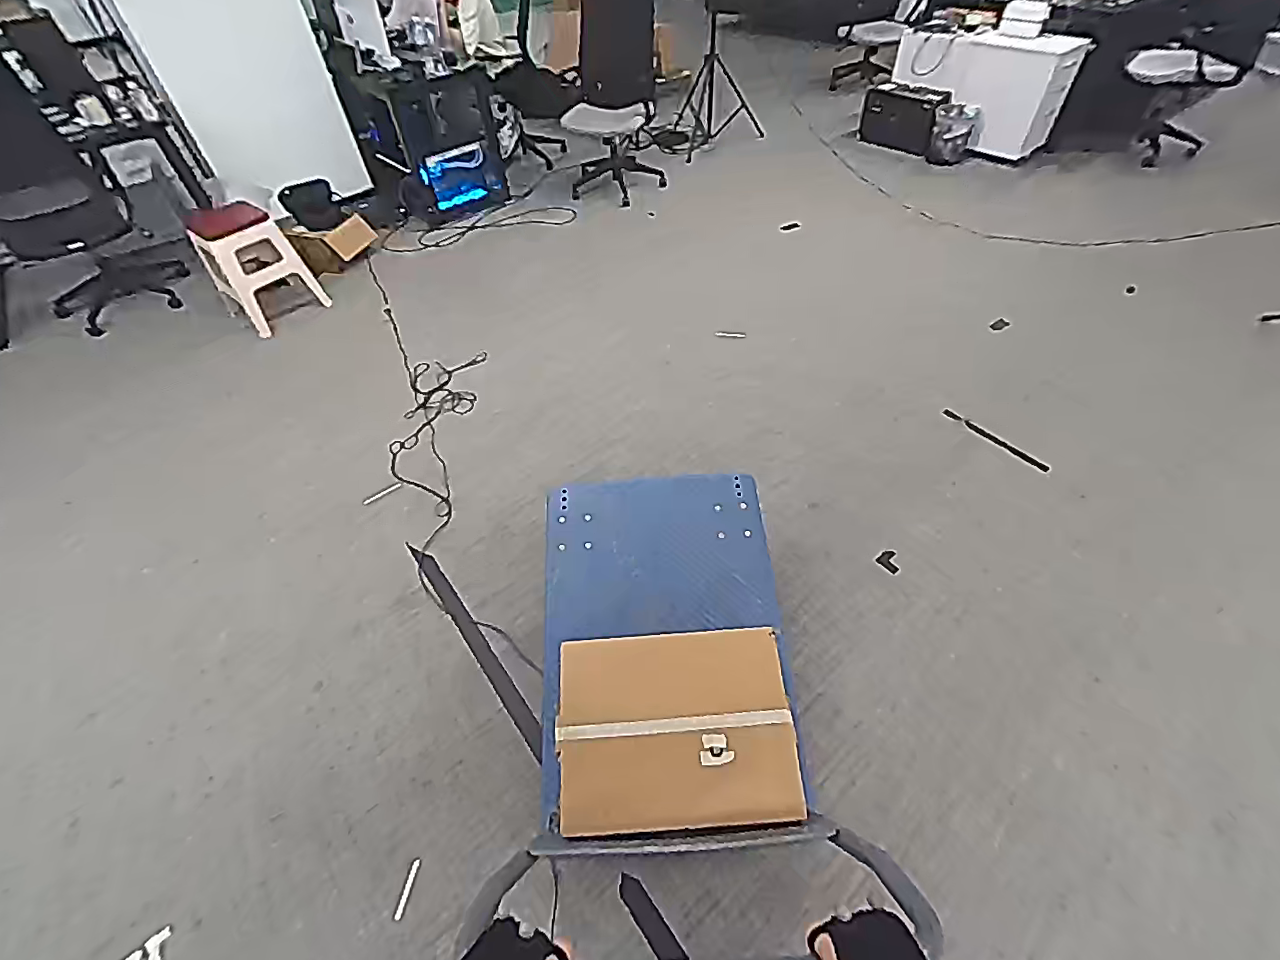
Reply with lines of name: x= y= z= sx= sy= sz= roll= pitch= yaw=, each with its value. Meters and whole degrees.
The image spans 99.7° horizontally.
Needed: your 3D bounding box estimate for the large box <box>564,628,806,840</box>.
large box: x=0.069 y=0.507 z=1.091 sx=0.408 sy=0.320 sz=0.320 roll=-5 pitch=63 yaw=-1
